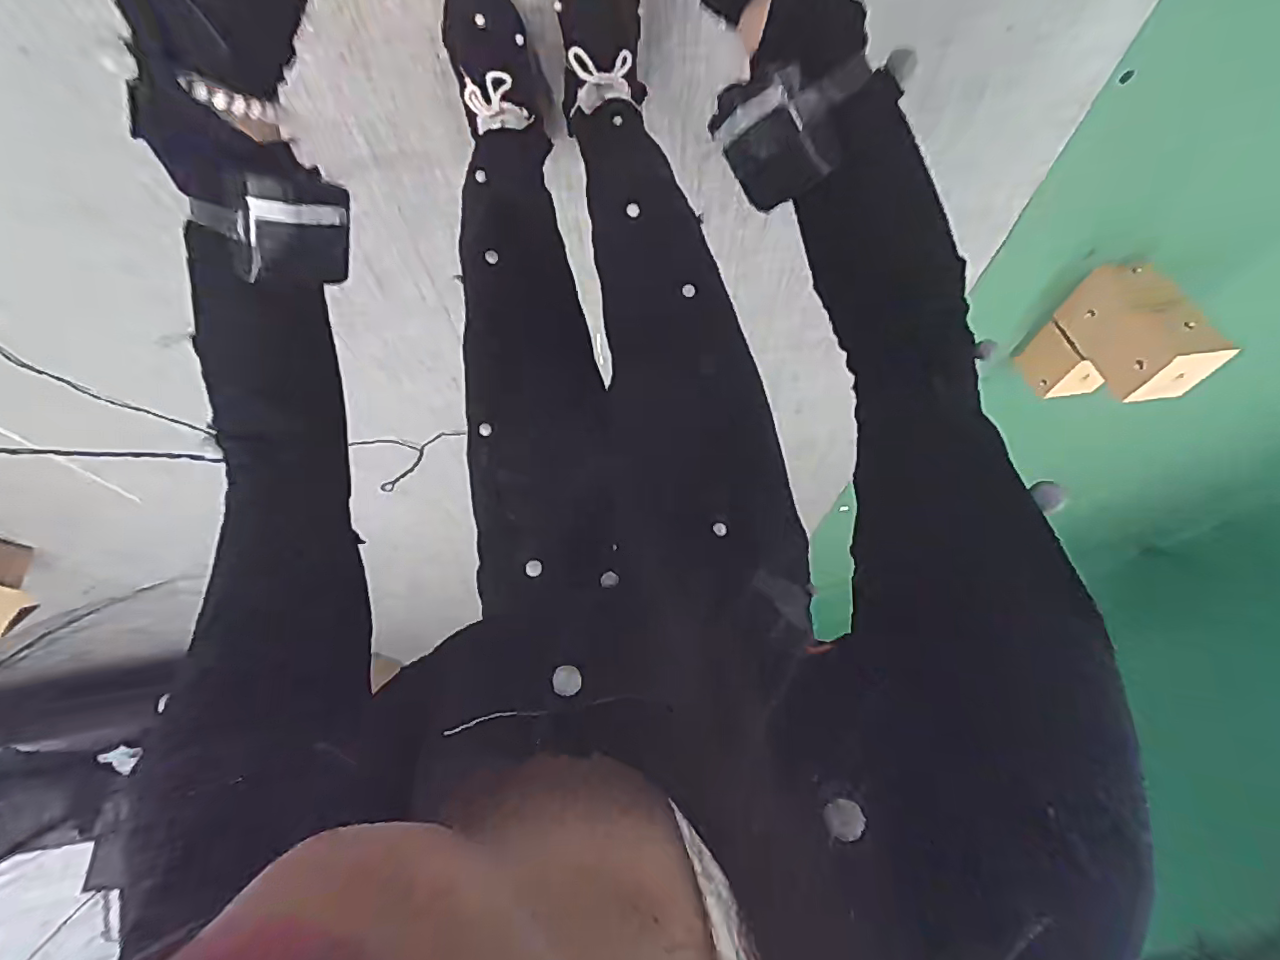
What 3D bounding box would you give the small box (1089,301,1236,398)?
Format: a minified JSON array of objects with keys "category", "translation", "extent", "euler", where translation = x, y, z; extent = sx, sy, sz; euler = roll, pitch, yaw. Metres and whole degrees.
[{"category":"small box","translation":[1.303,-0.334,1.368],"extent":[0.168,0.176,0.179],"euler":[-7,151,-4]}]
